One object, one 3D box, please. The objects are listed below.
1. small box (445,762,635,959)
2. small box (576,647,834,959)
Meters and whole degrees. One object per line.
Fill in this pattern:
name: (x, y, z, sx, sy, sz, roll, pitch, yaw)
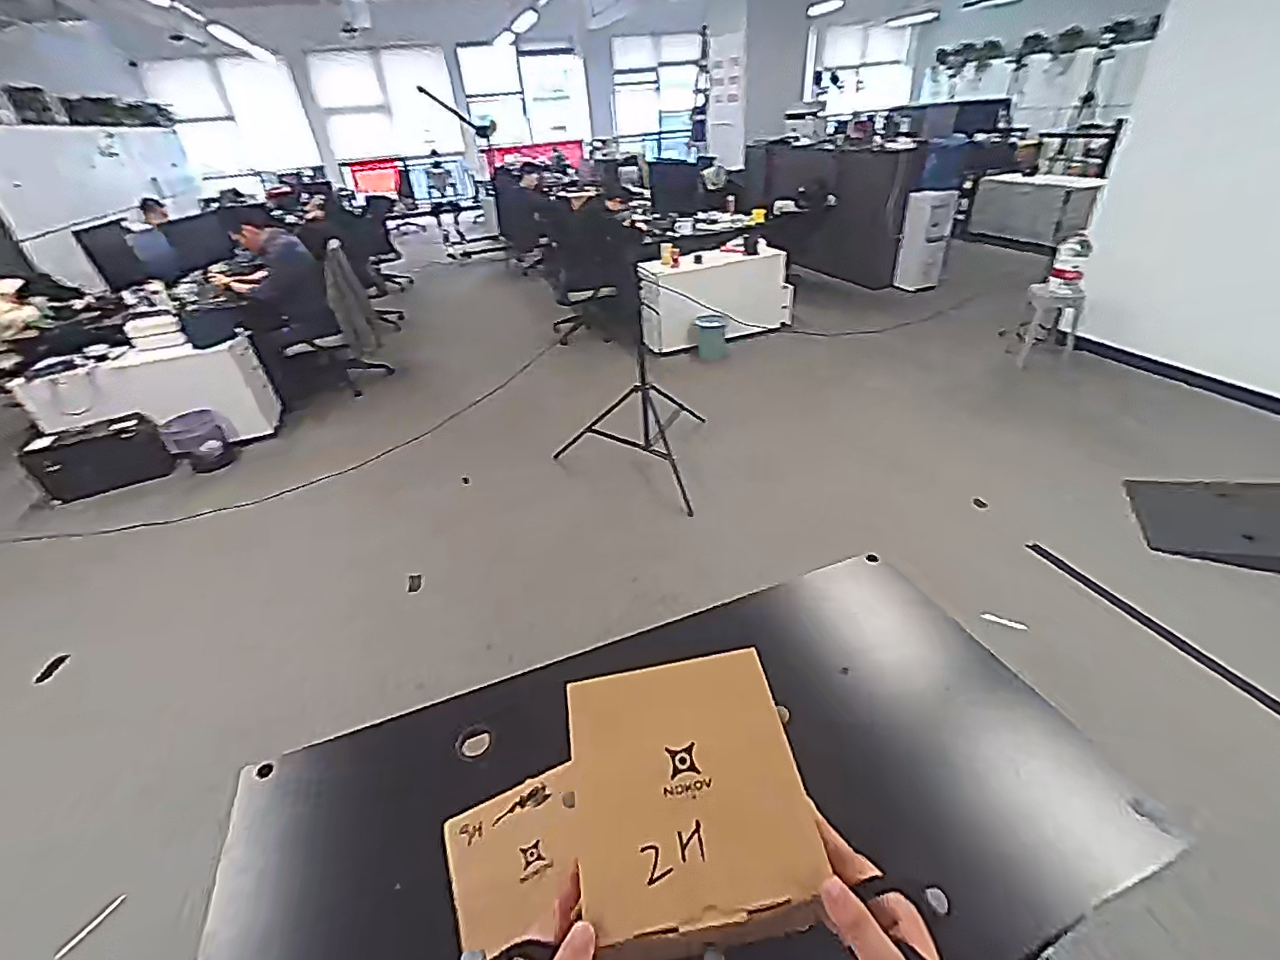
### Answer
small box: (-0.107, 0.477, 0.622, 0.168, 0.176, 0.179, -19, 36, -18)
small box: (0.042, 0.274, 0.461, 0.168, 0.176, 0.179, -10, 43, -2)
